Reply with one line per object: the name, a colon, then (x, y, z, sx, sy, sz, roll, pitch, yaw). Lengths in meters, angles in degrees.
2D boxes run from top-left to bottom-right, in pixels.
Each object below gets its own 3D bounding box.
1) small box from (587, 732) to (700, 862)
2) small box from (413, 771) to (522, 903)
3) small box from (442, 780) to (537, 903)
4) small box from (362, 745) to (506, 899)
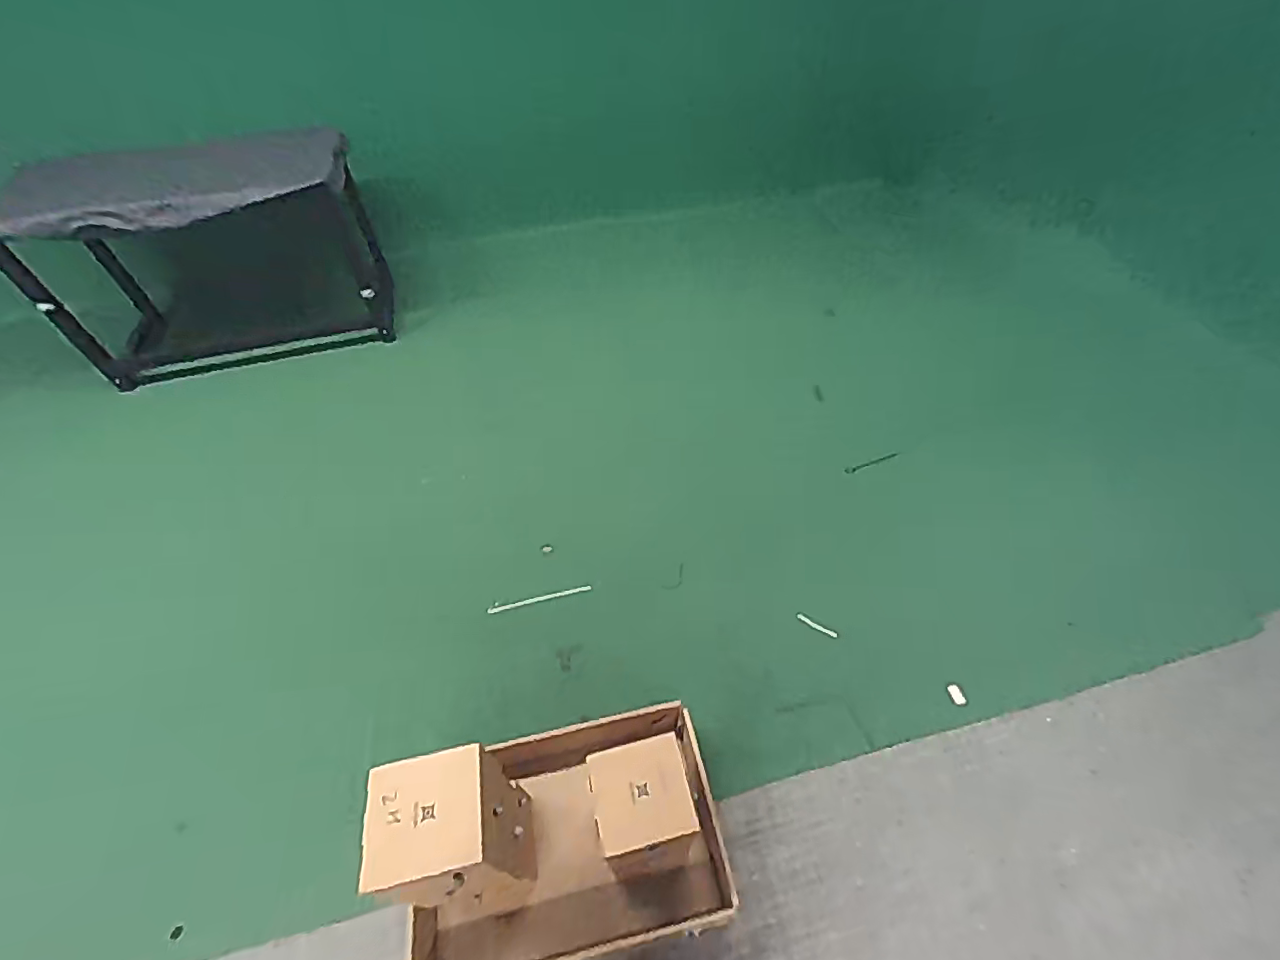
small box: (0.008, 0.607, 1.030, 0.179, 0.176, 0.168, -13, 52, -7)
small box: (-0.325, 0.662, 1.001, 0.179, 0.176, 0.168, -10, 51, -7)
small box: (-0.317, 0.759, 1.133, 0.168, 0.176, 0.179, -11, 51, -7)
small box: (-0.320, 0.555, 0.875, 0.179, 0.176, 0.168, -11, 50, -7)
